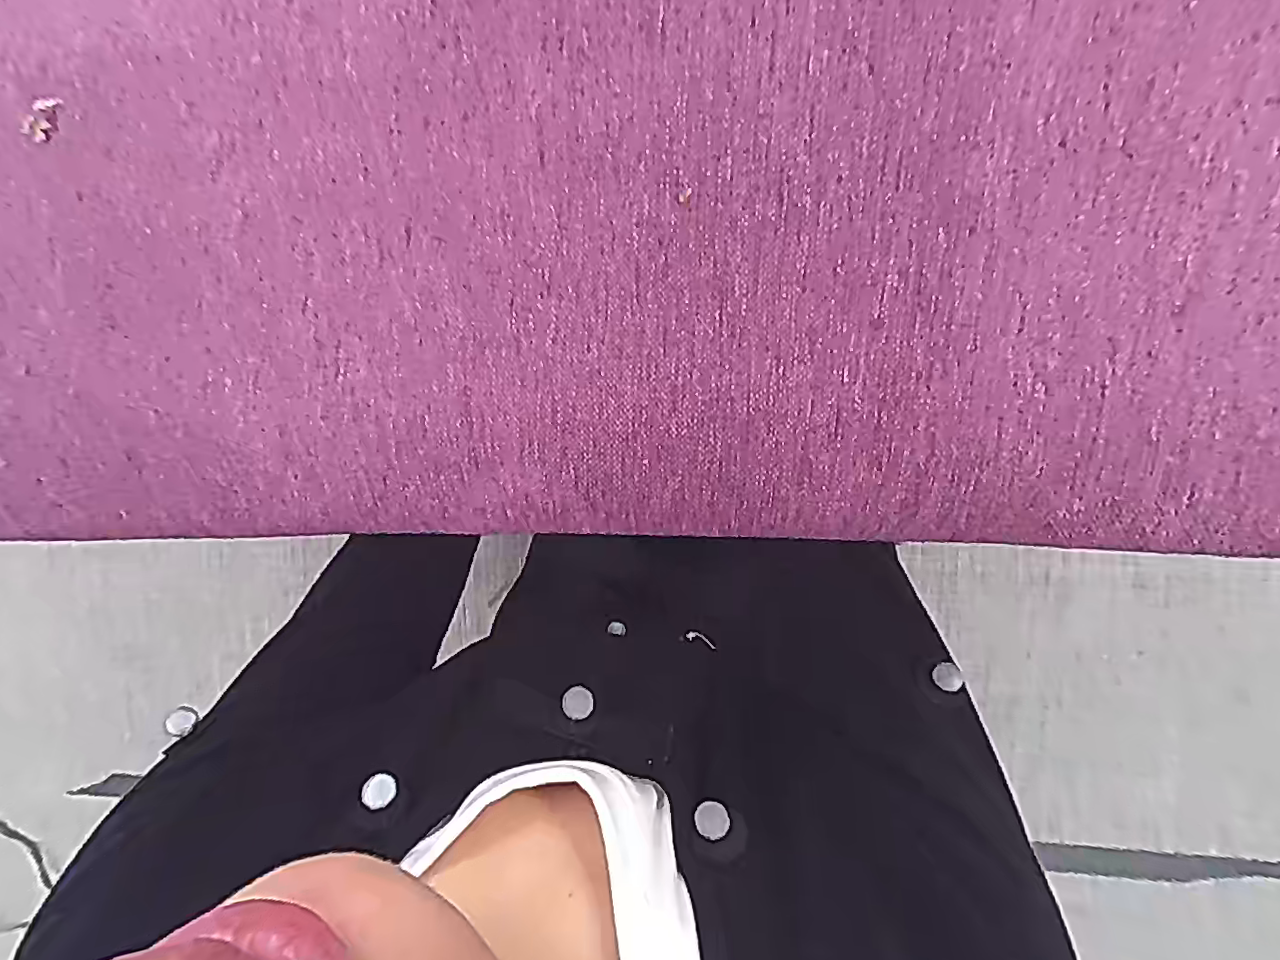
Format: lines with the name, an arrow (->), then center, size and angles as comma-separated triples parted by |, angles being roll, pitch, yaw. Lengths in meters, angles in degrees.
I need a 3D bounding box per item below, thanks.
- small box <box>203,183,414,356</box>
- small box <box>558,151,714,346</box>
small box -> -0.419, -0.262, 0.712 | 0.168, 0.176, 0.179 | -1, 98, 6
small box -> 0.004, -0.268, 0.667 | 0.168, 0.176, 0.179 | -2, 98, 8
